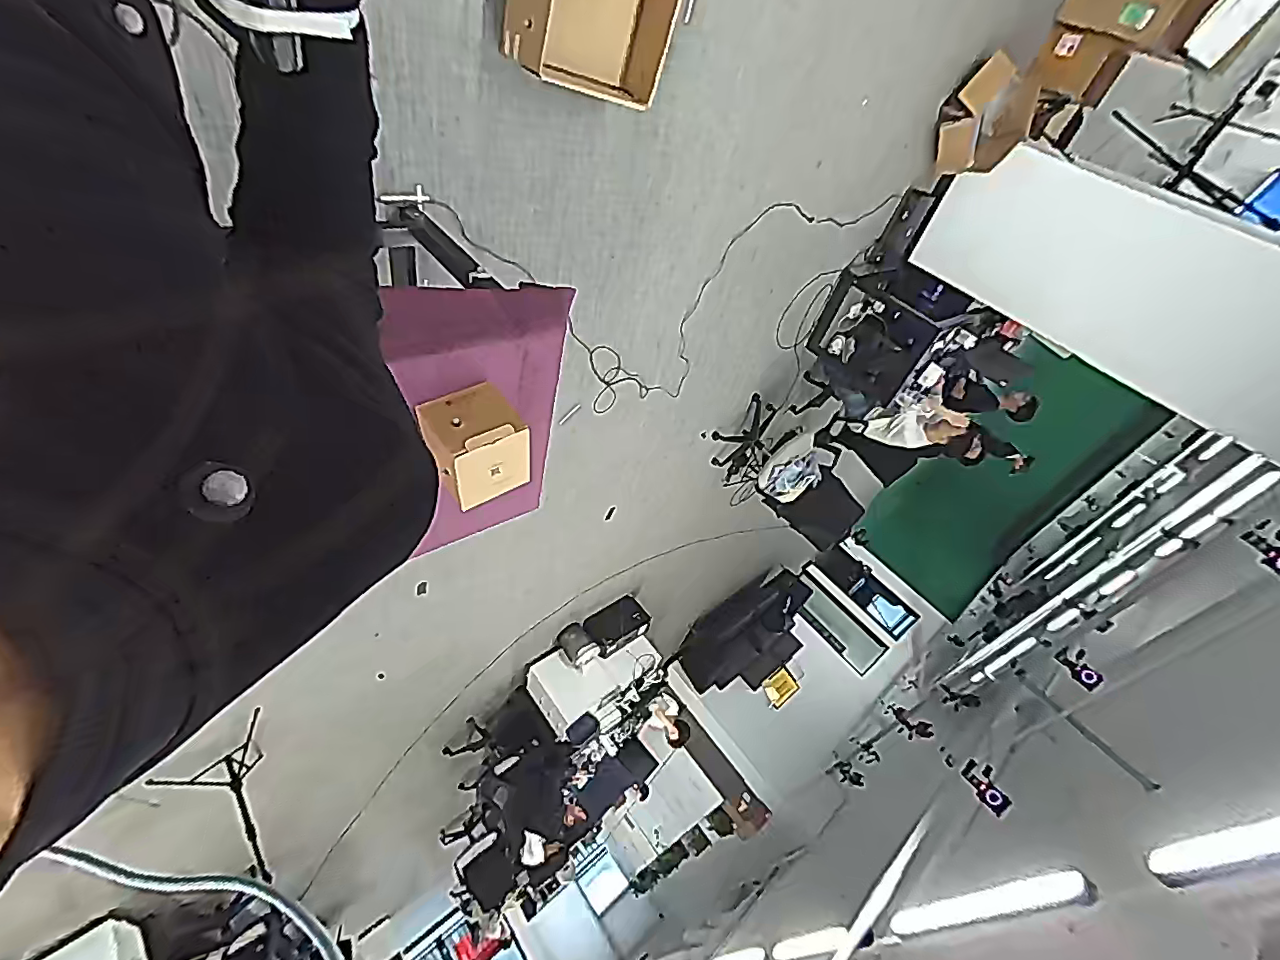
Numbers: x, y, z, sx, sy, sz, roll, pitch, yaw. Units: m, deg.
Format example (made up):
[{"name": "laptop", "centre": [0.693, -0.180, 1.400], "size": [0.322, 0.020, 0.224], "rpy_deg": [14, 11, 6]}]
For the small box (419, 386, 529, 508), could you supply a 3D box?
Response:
[{"name": "small box", "centre": [-0.351, -0.079, 1.152], "size": [0.168, 0.176, 0.179], "rpy_deg": [-27, 150, -29]}]
